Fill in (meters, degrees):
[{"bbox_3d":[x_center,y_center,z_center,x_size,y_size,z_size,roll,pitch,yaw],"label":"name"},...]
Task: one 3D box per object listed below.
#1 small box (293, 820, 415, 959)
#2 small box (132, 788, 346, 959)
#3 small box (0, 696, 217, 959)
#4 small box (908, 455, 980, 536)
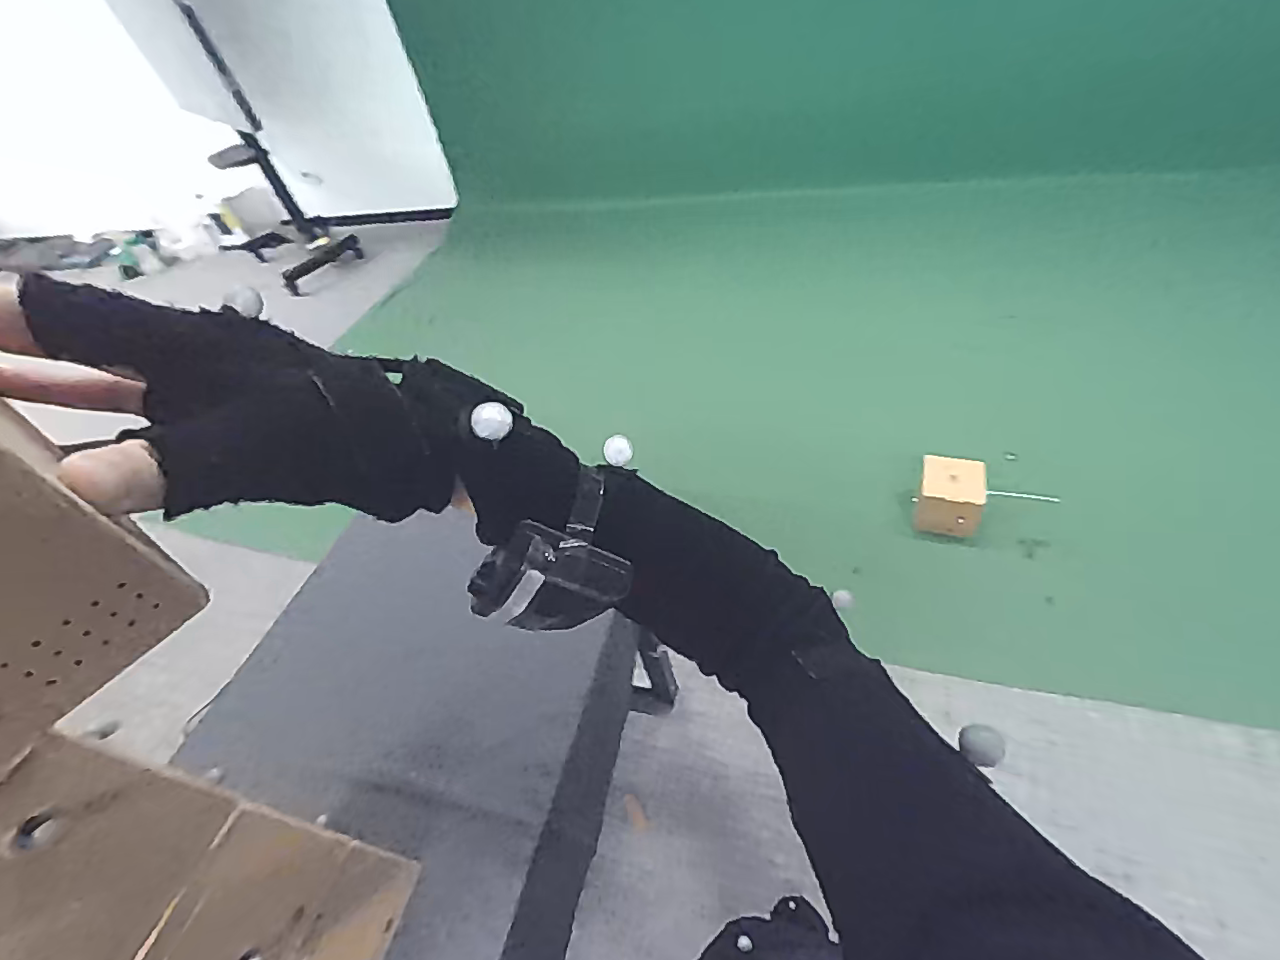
[{"bbox_3d":[-0.385,0.481,0.590,0.179,0.176,0.168,4,49,18],"label":"small box"},{"bbox_3d":[-0.411,0.371,0.473,0.179,0.176,0.168,5,49,17],"label":"small box"},{"bbox_3d":[-0.435,0.259,0.355,0.168,0.176,0.179,6,49,18],"label":"small box"},{"bbox_3d":[0.946,0.050,1.688,0.168,0.176,0.179,10,51,20],"label":"small box"}]
